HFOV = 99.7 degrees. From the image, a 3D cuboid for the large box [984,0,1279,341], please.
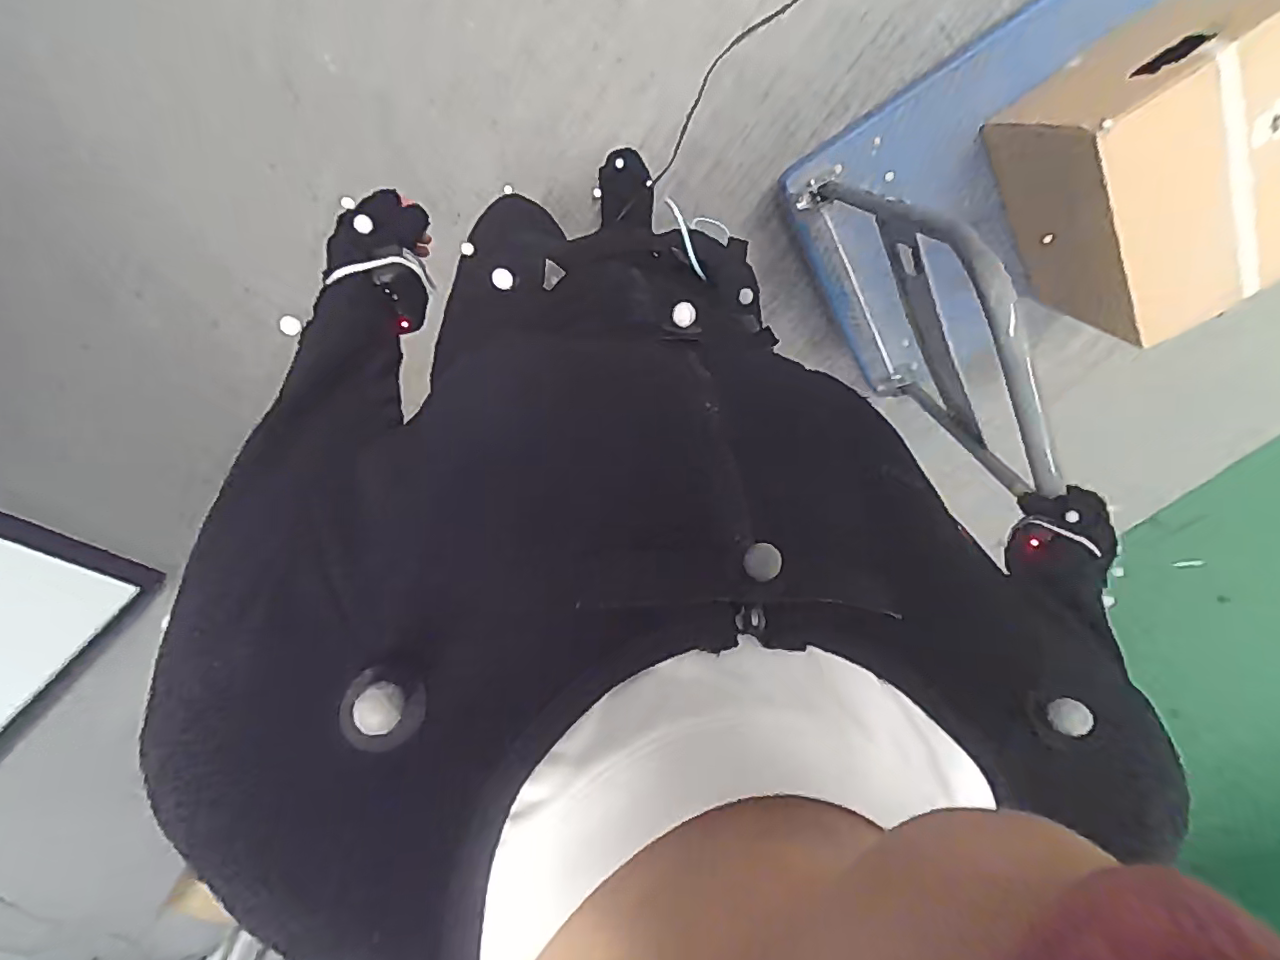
[{"bbox_3d":[0.876,-0.524,0.921,0.320,0.320,0.408,-33,118,19],"label":"large box"}]
